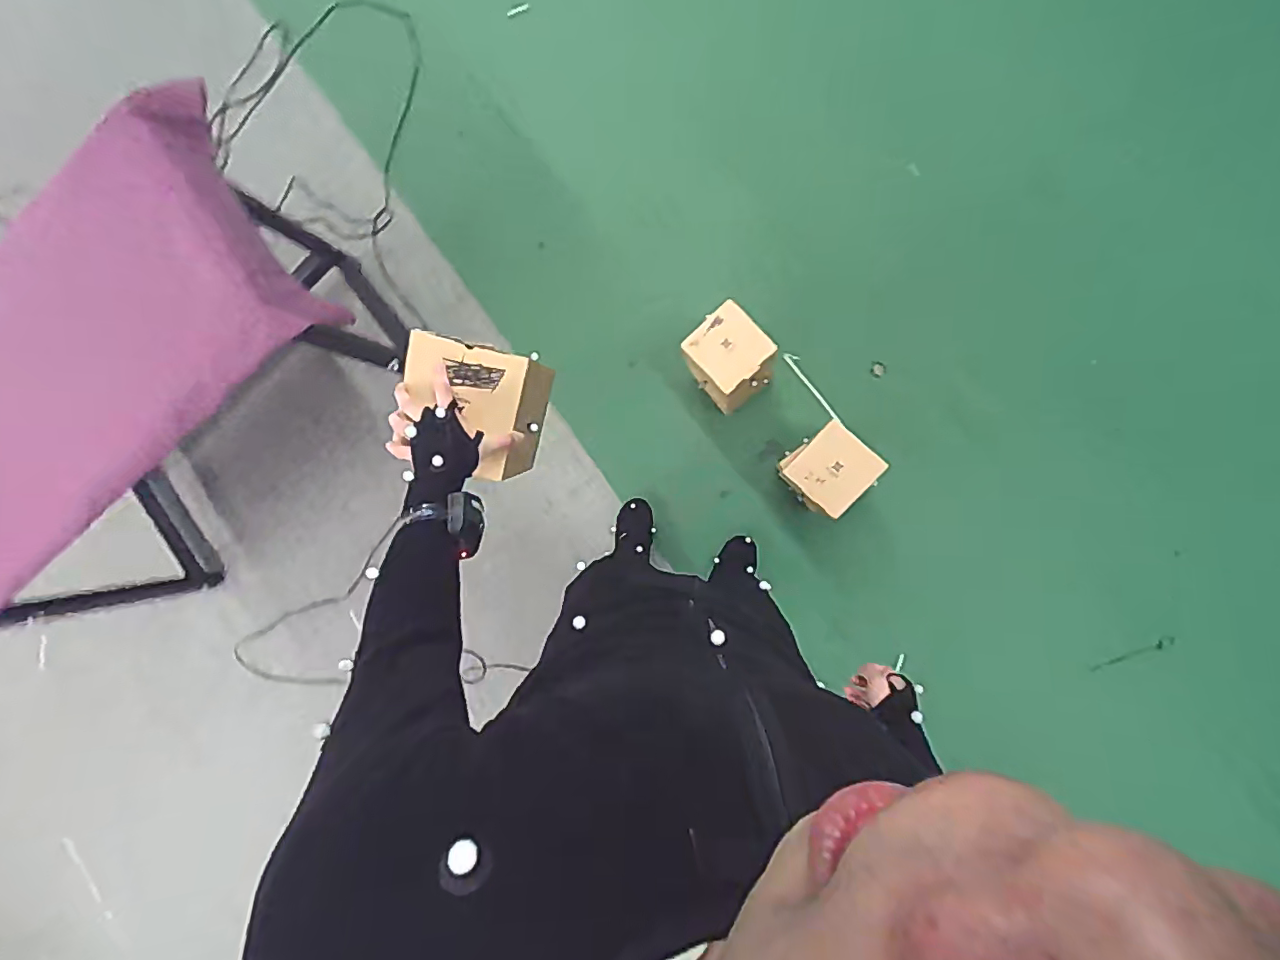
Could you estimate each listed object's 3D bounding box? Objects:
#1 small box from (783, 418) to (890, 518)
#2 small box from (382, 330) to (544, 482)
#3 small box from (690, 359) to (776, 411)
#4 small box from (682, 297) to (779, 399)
[{"bbox_3d":[0.466,-0.027,1.319,0.168,0.176,0.179,45,98,9],"label":"small box"},{"bbox_3d":[-0.253,-0.110,0.814,0.168,0.176,0.179,15,99,3],"label":"small box"},{"bbox_3d":[0.265,-0.315,1.534,0.179,0.176,0.168,-39,82,7],"label":"small box"},{"bbox_3d":[0.231,-0.323,1.373,0.168,0.176,0.179,-41,82,7],"label":"small box"}]
